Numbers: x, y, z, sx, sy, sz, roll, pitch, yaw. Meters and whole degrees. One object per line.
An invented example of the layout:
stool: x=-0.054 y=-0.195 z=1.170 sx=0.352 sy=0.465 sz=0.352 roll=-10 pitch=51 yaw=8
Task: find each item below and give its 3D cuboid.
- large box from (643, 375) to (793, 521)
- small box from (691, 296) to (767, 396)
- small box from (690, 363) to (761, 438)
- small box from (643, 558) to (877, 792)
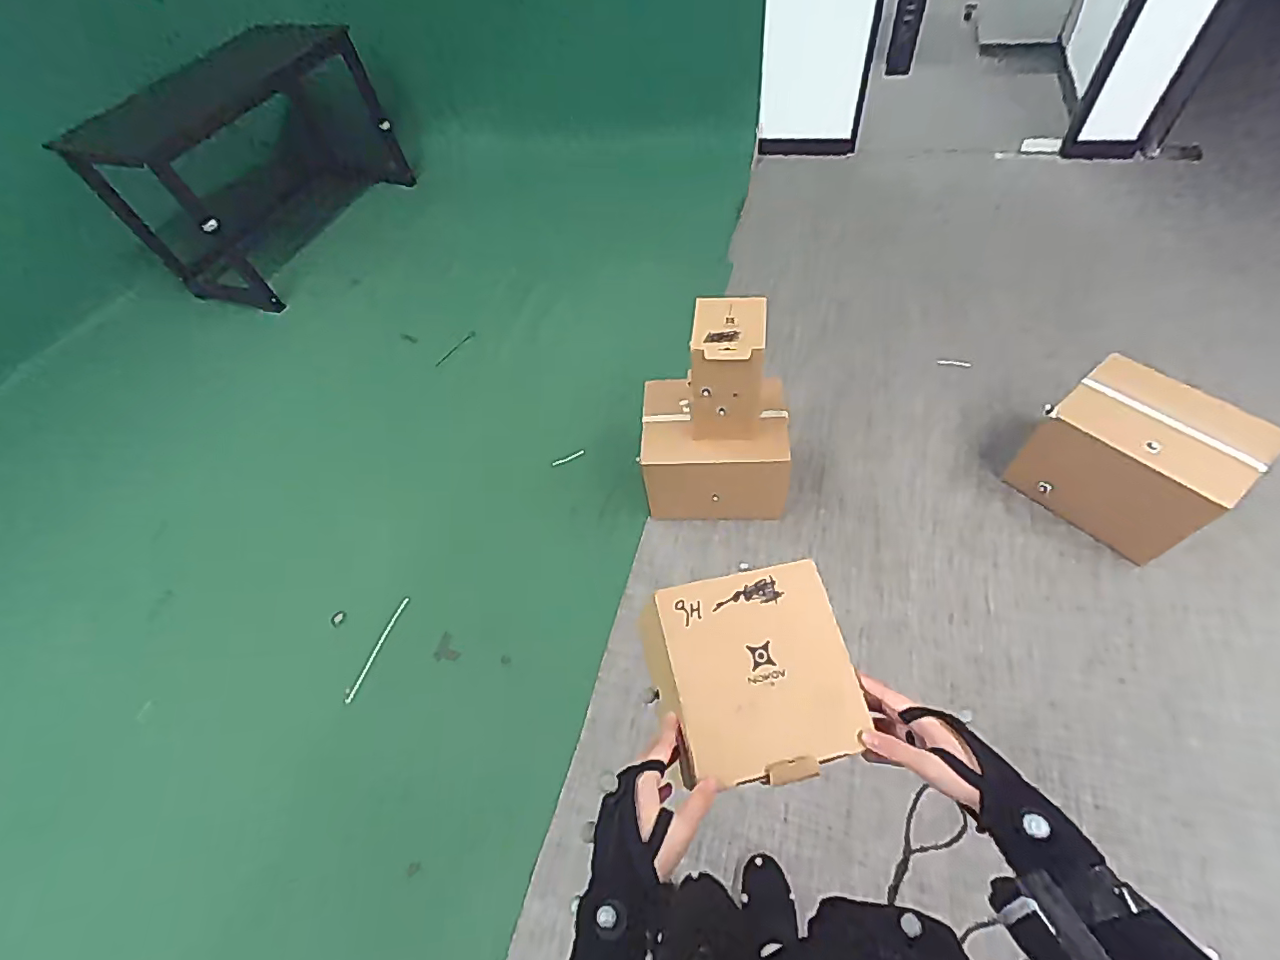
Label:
large box: x=0.233 y=-0.087 z=1.636 sx=0.408 sy=0.320 sz=0.320 roll=-3 pitch=55 yaw=9
small box: x=0.217 y=-0.316 z=1.296 sx=0.168 sy=0.176 sz=0.179 roll=3 pitch=58 yaw=11
small box: x=0.228 y=-0.224 z=1.431 sx=0.179 sy=0.176 sz=0.168 roll=1 pitch=58 yaw=10
small box: x=0.104 y=0.196 z=0.559 sx=0.168 sy=0.176 sz=0.179 roll=-9 pitch=68 yaw=-10
